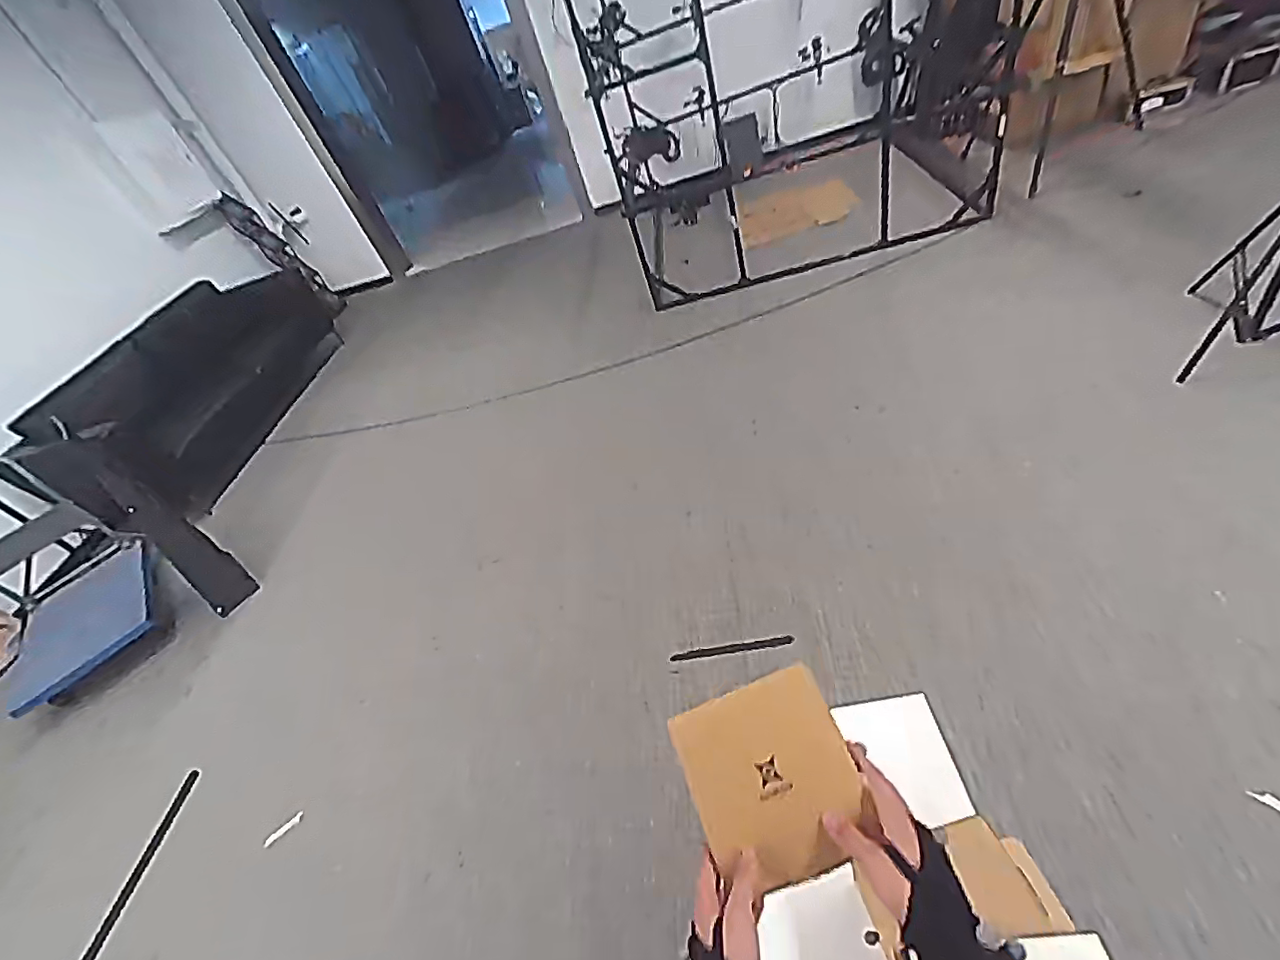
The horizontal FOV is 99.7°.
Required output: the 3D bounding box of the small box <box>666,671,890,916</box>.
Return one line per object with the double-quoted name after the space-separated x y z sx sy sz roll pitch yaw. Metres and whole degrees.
0.149 0.337 0.607 0.168 0.176 0.179 -26 61 6 "small box"
